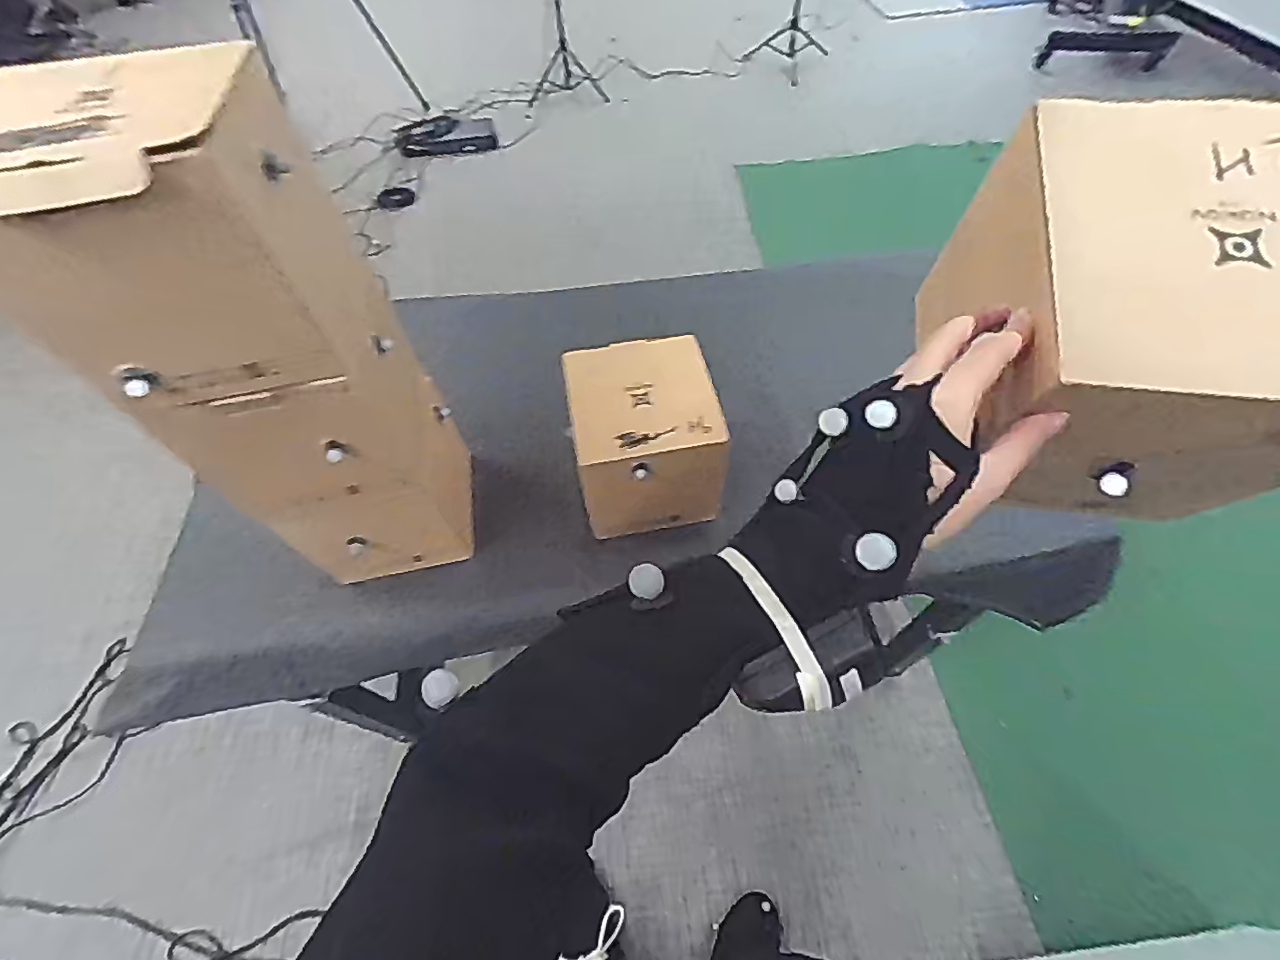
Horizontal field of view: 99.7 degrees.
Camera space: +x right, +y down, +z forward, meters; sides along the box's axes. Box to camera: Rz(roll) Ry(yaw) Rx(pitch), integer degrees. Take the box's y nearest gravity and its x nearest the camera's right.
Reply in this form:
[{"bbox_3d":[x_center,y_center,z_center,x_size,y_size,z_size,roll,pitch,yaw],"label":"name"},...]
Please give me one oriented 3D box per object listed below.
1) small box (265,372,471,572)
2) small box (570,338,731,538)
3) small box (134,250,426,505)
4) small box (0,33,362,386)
[{"bbox_3d":[-0.312,-0.001,0.663,0.168,0.176,0.179,-10,55,-5],"label":"small box"},{"bbox_3d":[0.007,-0.050,0.684,0.168,0.176,0.179,-9,55,-4],"label":"small box"},{"bbox_3d":[-0.319,-0.091,0.528,0.168,0.176,0.179,-10,55,-6],"label":"small box"},{"bbox_3d":[-0.323,-0.186,0.394,0.168,0.176,0.179,-12,55,-7],"label":"small box"}]
